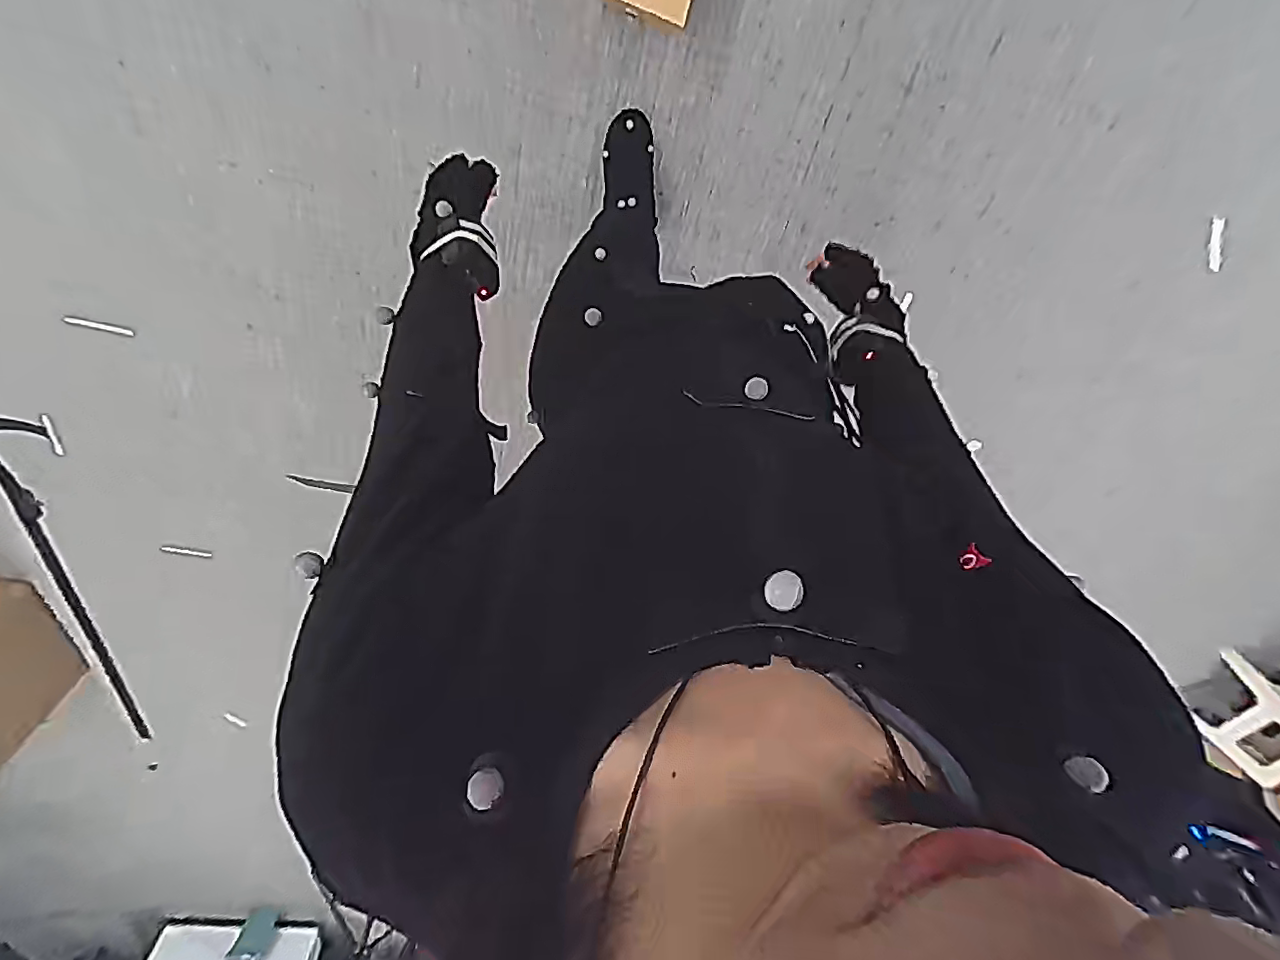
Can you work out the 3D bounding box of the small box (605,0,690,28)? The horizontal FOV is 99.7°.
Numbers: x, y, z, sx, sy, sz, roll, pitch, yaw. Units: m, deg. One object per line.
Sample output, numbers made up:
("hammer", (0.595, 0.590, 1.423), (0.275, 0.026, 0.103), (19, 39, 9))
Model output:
("small box", (0.023, -0.934, 0.949), (0.168, 0.176, 0.179), (14, 126, -10))
